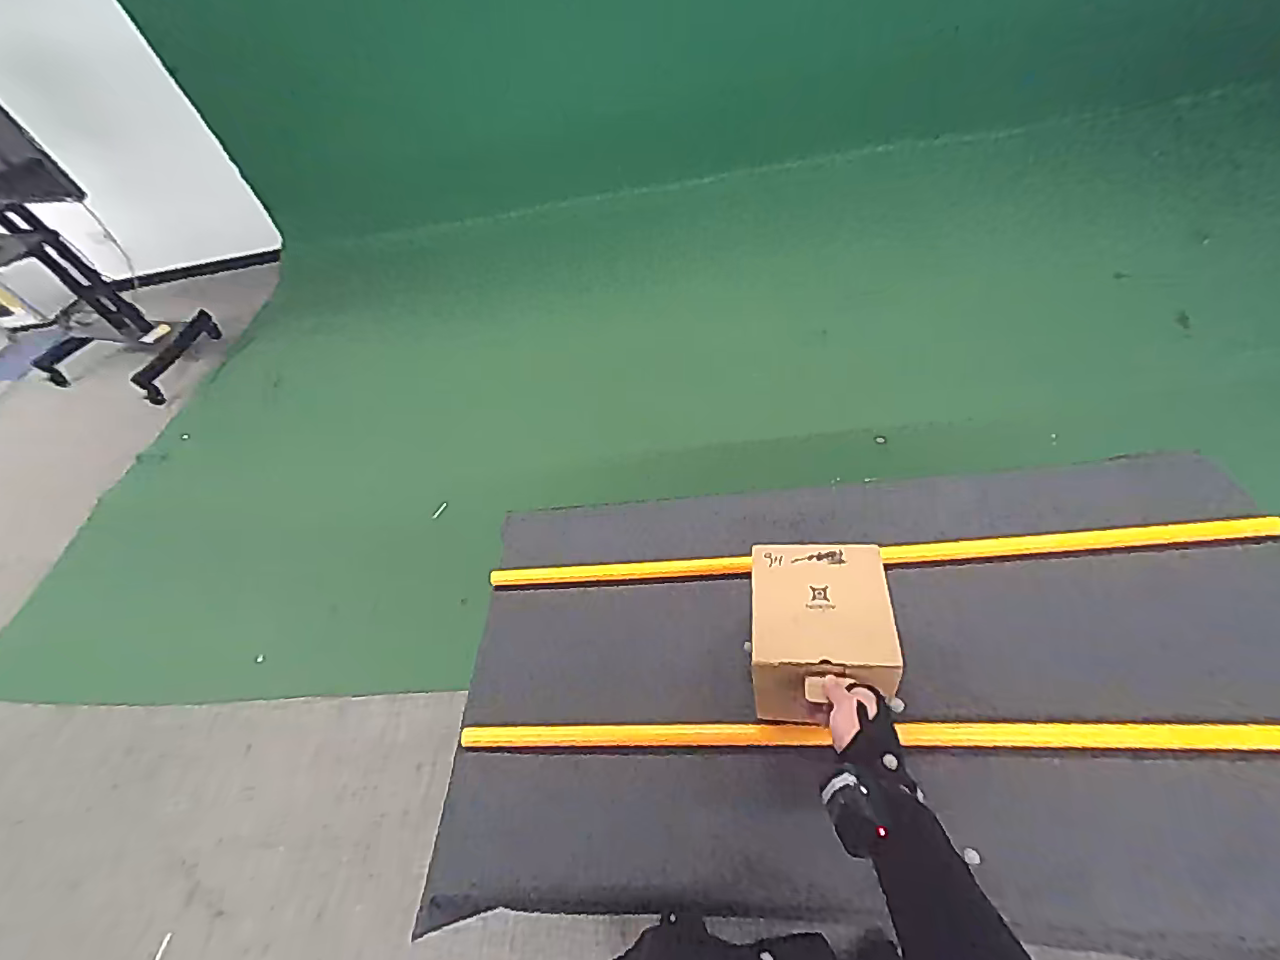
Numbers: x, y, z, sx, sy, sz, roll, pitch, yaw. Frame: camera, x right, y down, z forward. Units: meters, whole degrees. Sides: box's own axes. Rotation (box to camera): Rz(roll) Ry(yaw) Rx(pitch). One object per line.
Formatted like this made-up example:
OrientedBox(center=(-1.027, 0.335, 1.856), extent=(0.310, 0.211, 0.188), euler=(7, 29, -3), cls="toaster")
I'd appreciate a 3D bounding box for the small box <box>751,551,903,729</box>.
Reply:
OrientedBox(center=(0.242, 0.218, 0.728), extent=(0.168, 0.176, 0.179), euler=(-5, 43, 13), cls="small box")
